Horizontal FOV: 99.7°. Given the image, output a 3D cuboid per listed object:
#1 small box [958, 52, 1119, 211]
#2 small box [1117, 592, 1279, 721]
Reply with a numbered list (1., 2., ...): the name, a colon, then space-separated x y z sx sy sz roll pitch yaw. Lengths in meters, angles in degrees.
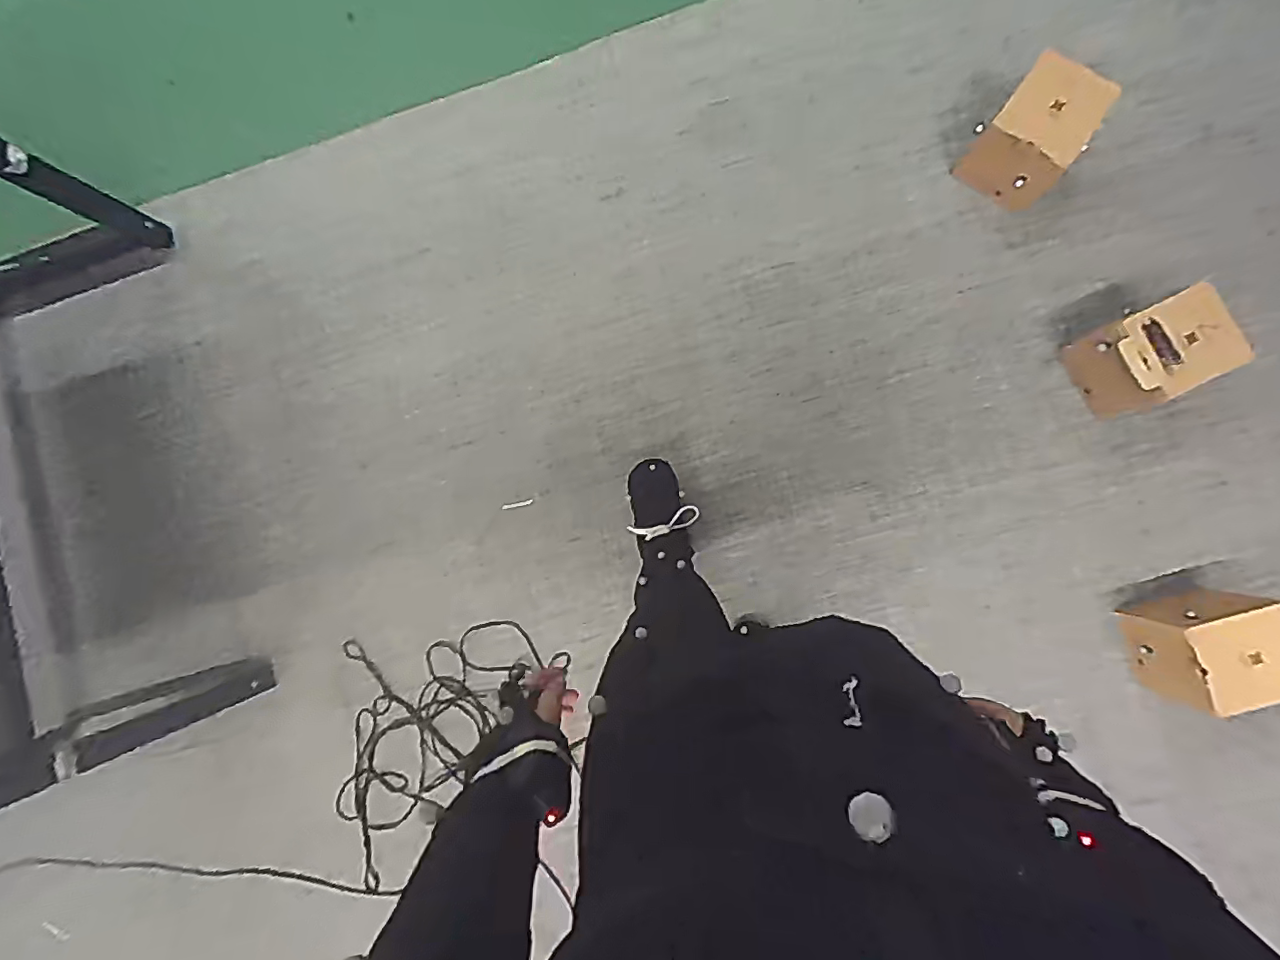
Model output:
1. small box: 0.786 -0.690 1.093 0.168 0.176 0.179 35 90 5
2. small box: 1.073 0.321 1.020 0.179 0.176 0.168 -18 86 5
